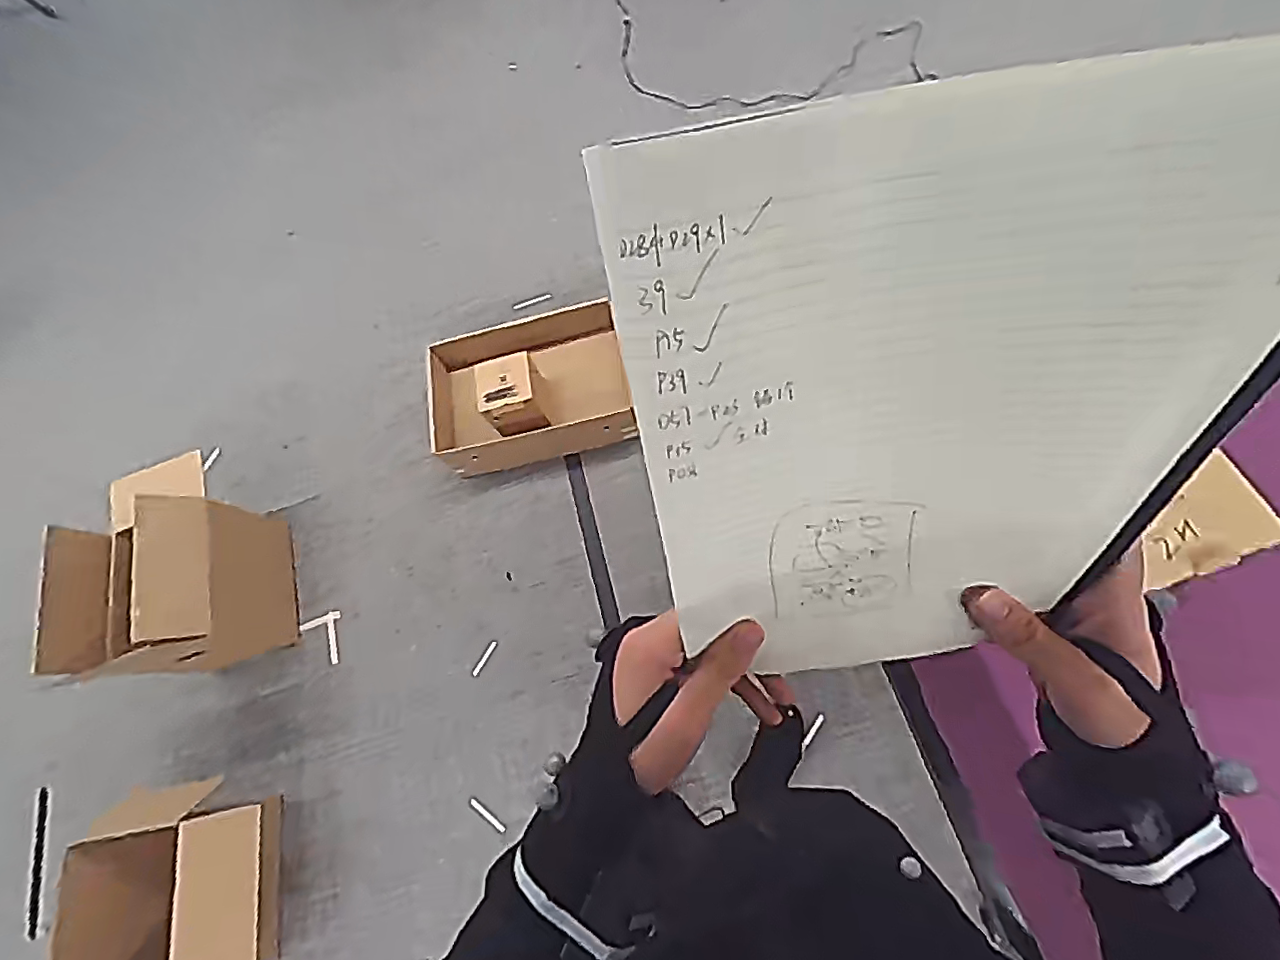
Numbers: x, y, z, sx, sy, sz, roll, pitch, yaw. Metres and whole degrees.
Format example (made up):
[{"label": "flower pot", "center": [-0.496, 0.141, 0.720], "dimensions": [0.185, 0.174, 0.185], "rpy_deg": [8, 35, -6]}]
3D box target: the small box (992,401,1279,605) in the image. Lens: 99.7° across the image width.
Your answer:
[{"label": "small box", "center": [0.582, 0.038, 0.662], "dimensions": [0.168, 0.176, 0.179], "rpy_deg": [-23, 70, 3]}]
